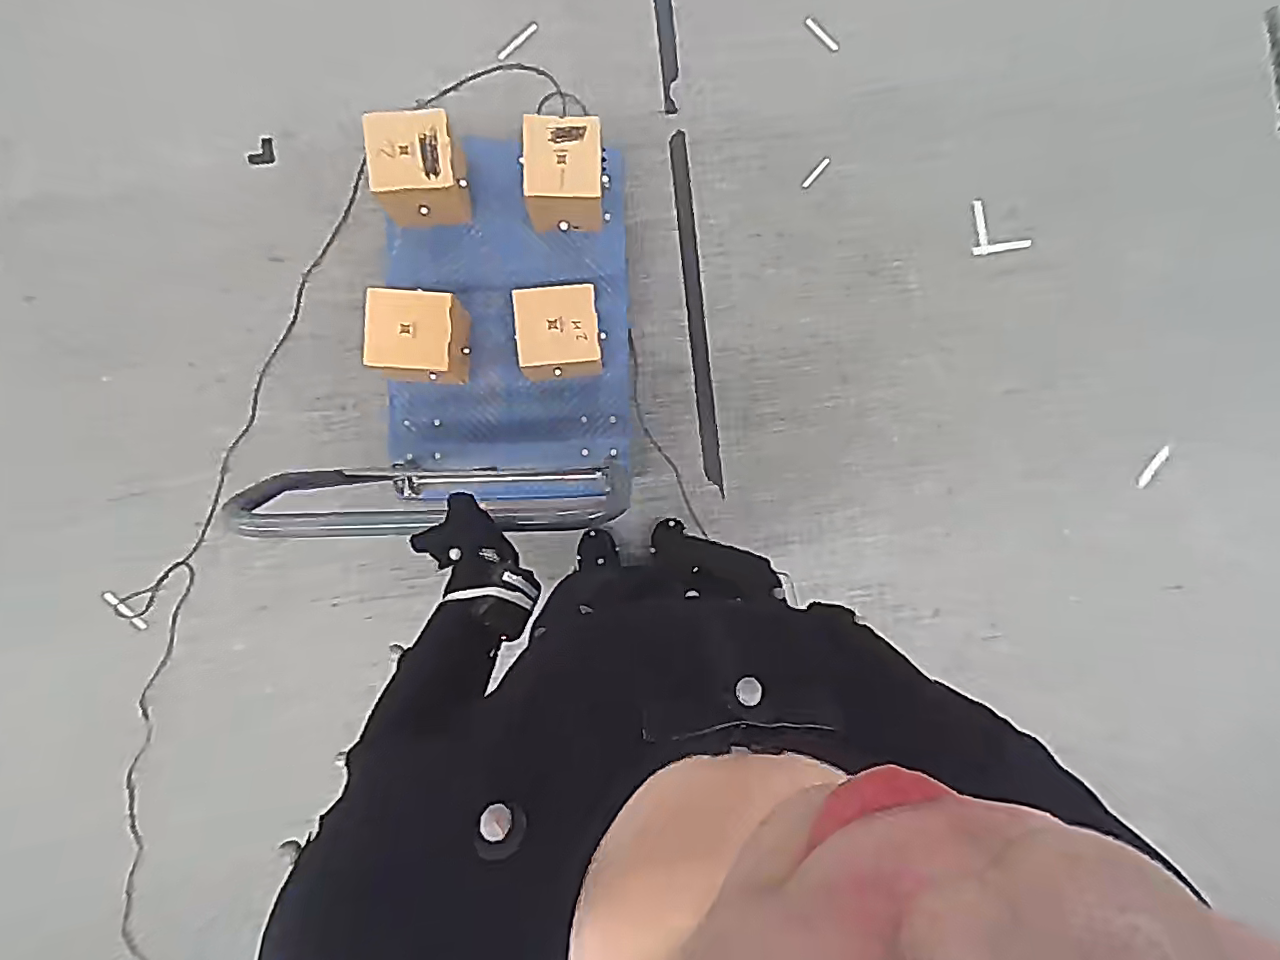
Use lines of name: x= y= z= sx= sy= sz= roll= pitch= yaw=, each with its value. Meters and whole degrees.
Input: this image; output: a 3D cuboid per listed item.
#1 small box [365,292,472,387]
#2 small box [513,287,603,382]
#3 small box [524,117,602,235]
small box: x=-0.489 y=-0.307 z=1.212 sx=0.179 sy=0.176 sz=0.168 roll=2 pitch=89 yaw=-5
small box: x=-0.180 y=-0.323 z=1.229 sx=0.179 sy=0.176 sz=0.168 roll=-6 pitch=90 yaw=-3
small box: x=-0.171 y=-0.685 z=1.232 sx=0.168 sy=0.176 sz=0.179 roll=-1 pitch=91 yaw=-3
